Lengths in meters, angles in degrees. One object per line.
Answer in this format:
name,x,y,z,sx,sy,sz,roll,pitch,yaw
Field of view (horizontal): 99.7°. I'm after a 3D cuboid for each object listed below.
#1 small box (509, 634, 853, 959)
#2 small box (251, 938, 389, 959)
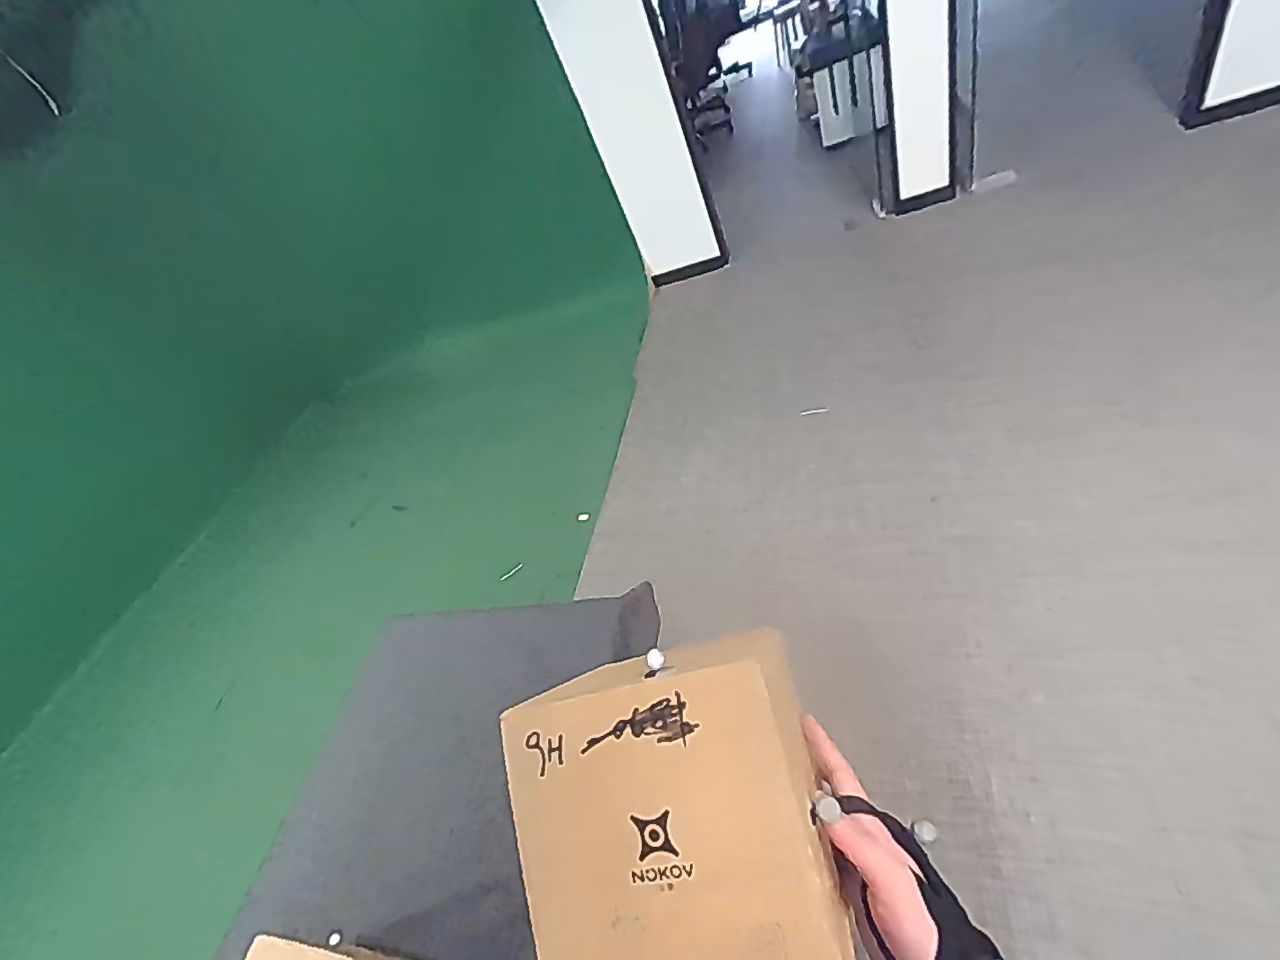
small box,0.037,0.217,0.368,0.168,0.176,0.179,-17,76,13
small box,-0.385,0.684,0.654,0.179,0.176,0.168,-10,43,23
